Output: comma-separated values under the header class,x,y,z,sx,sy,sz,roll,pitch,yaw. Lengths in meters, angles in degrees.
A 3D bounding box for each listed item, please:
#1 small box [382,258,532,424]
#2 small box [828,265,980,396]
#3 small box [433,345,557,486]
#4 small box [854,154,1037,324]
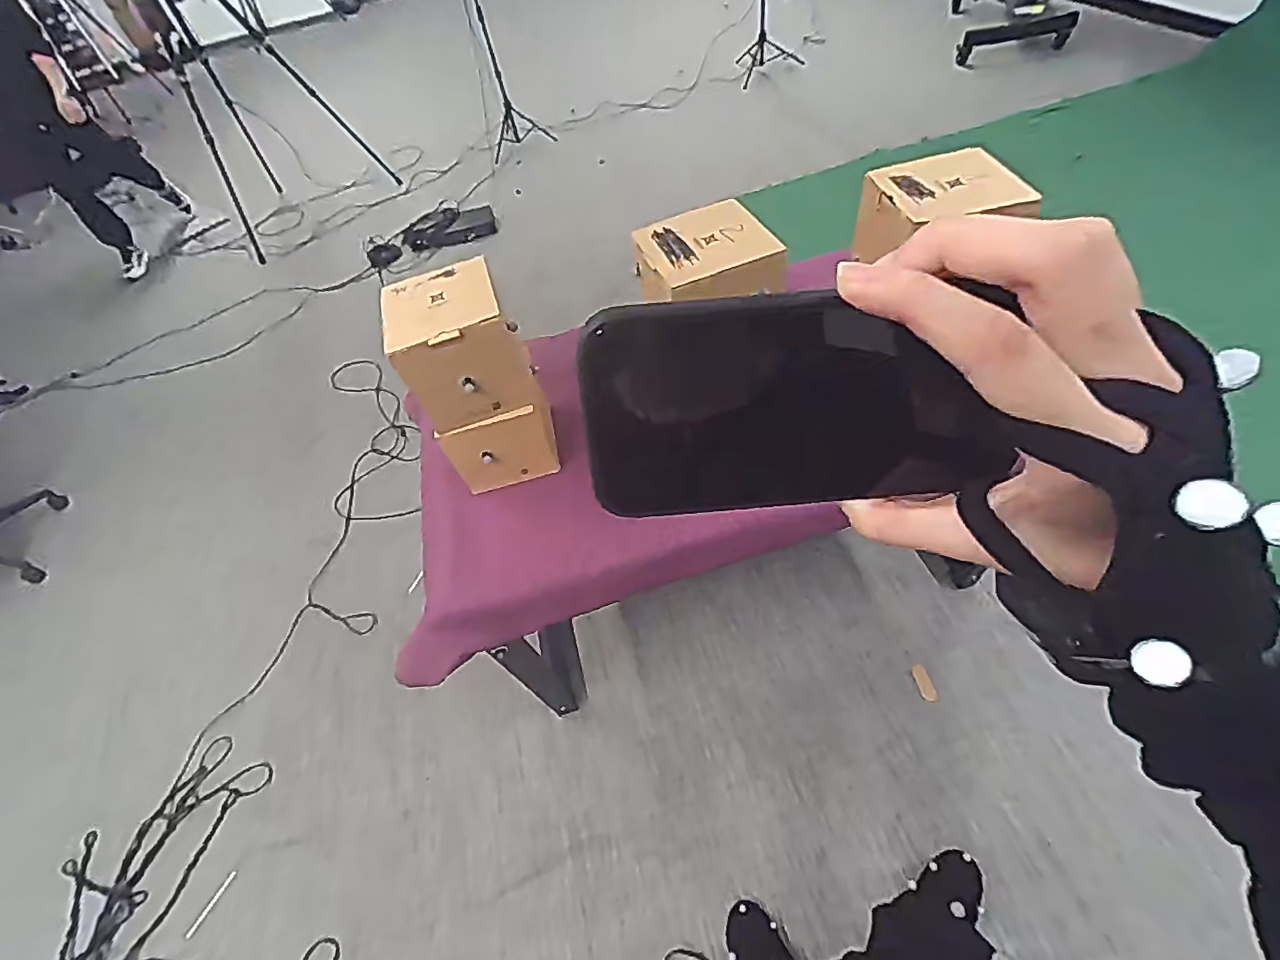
class,x,y,z,sx,sy,sz,roll,pitch,yaw
small box,-0.281,-0.209,0.849,0.168,0.176,0.179,-19,54,-4
small box,0.456,-0.275,0.967,0.179,0.176,0.168,-11,52,3
small box,-0.255,-0.107,0.975,0.168,0.176,0.179,-15,53,-1
small box,0.444,-0.362,0.828,0.179,0.176,0.168,-11,53,2
